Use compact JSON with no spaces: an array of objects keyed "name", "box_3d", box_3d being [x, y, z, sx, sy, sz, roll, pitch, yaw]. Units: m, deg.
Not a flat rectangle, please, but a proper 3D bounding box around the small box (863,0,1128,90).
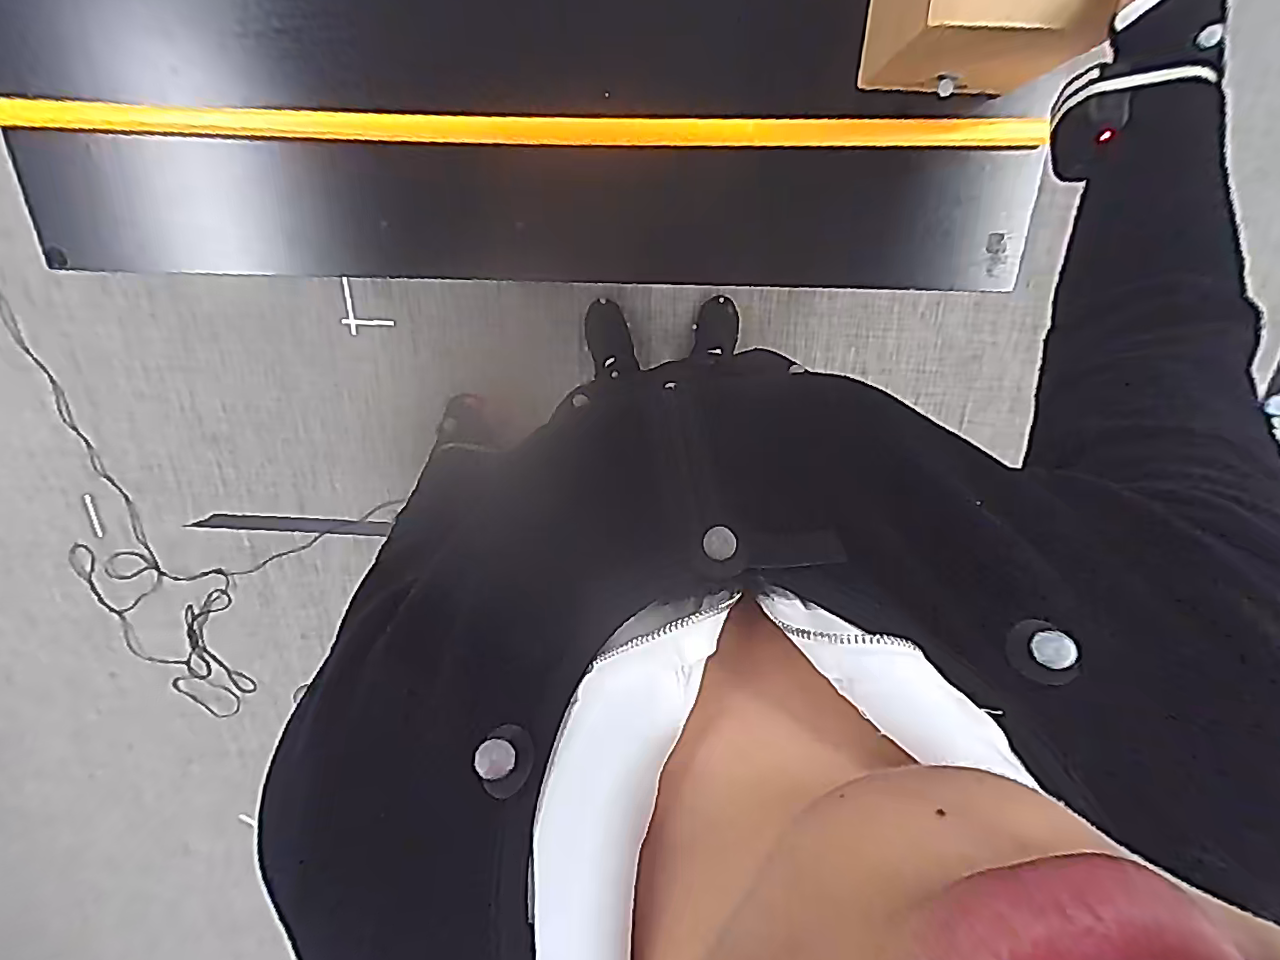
[{"name":"small box","box_3d":[0.324,-0.490,0.494,0.168,0.176,0.179,3,111,1]}]
